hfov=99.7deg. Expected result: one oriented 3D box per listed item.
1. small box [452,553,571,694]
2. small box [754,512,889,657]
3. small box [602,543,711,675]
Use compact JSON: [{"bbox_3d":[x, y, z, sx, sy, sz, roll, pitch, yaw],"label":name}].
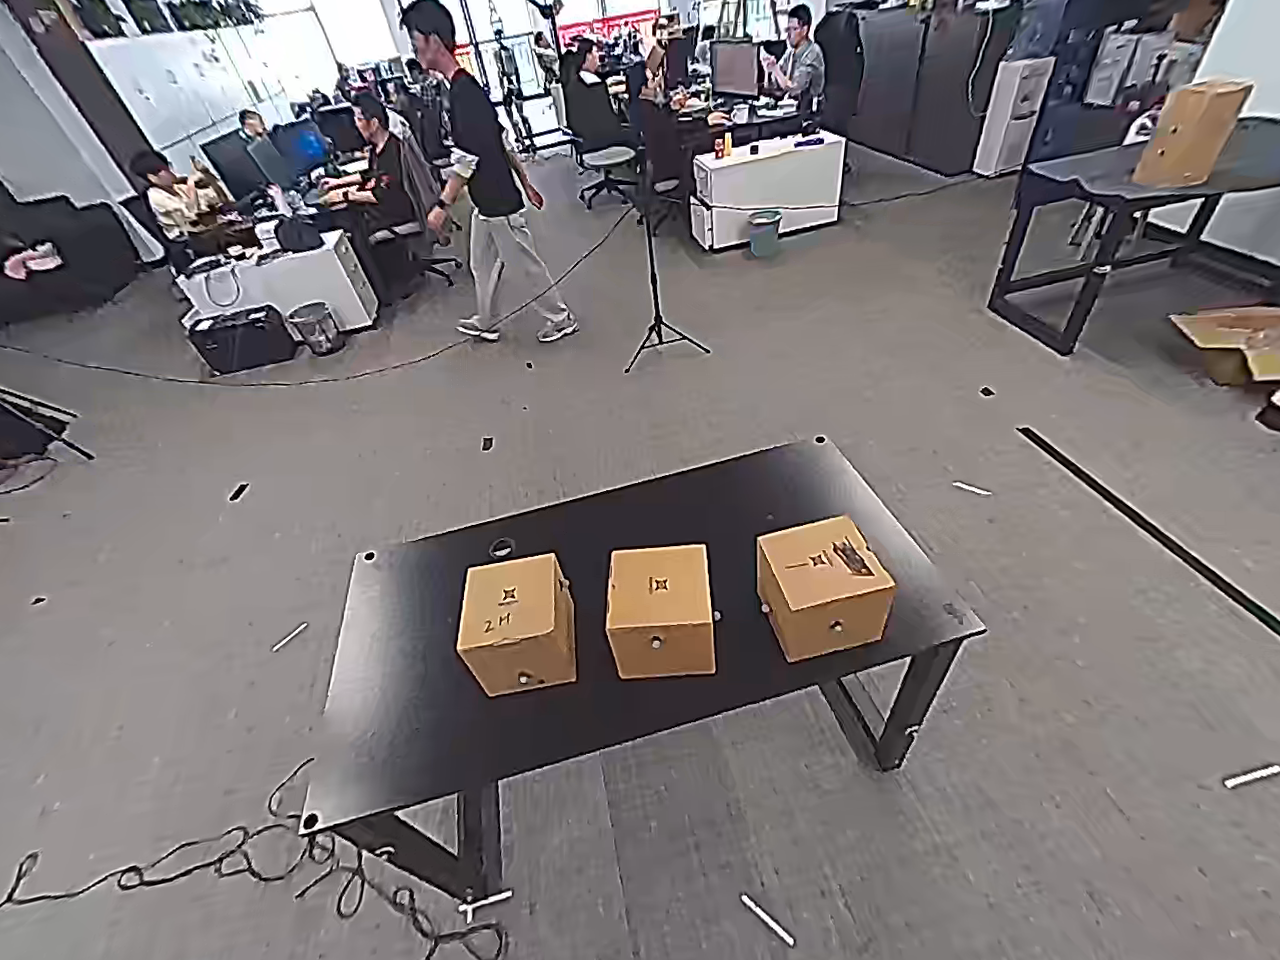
[{"bbox_3d":[-0.226,0.264,0.997,0.168,0.176,0.179,-11,43,0],"label":"small box"},{"bbox_3d":[0.312,0.188,0.969,0.179,0.176,0.168,-14,42,-2],"label":"small box"},{"bbox_3d":[0.035,0.235,0.978,0.179,0.176,0.168,-6,42,6],"label":"small box"}]
